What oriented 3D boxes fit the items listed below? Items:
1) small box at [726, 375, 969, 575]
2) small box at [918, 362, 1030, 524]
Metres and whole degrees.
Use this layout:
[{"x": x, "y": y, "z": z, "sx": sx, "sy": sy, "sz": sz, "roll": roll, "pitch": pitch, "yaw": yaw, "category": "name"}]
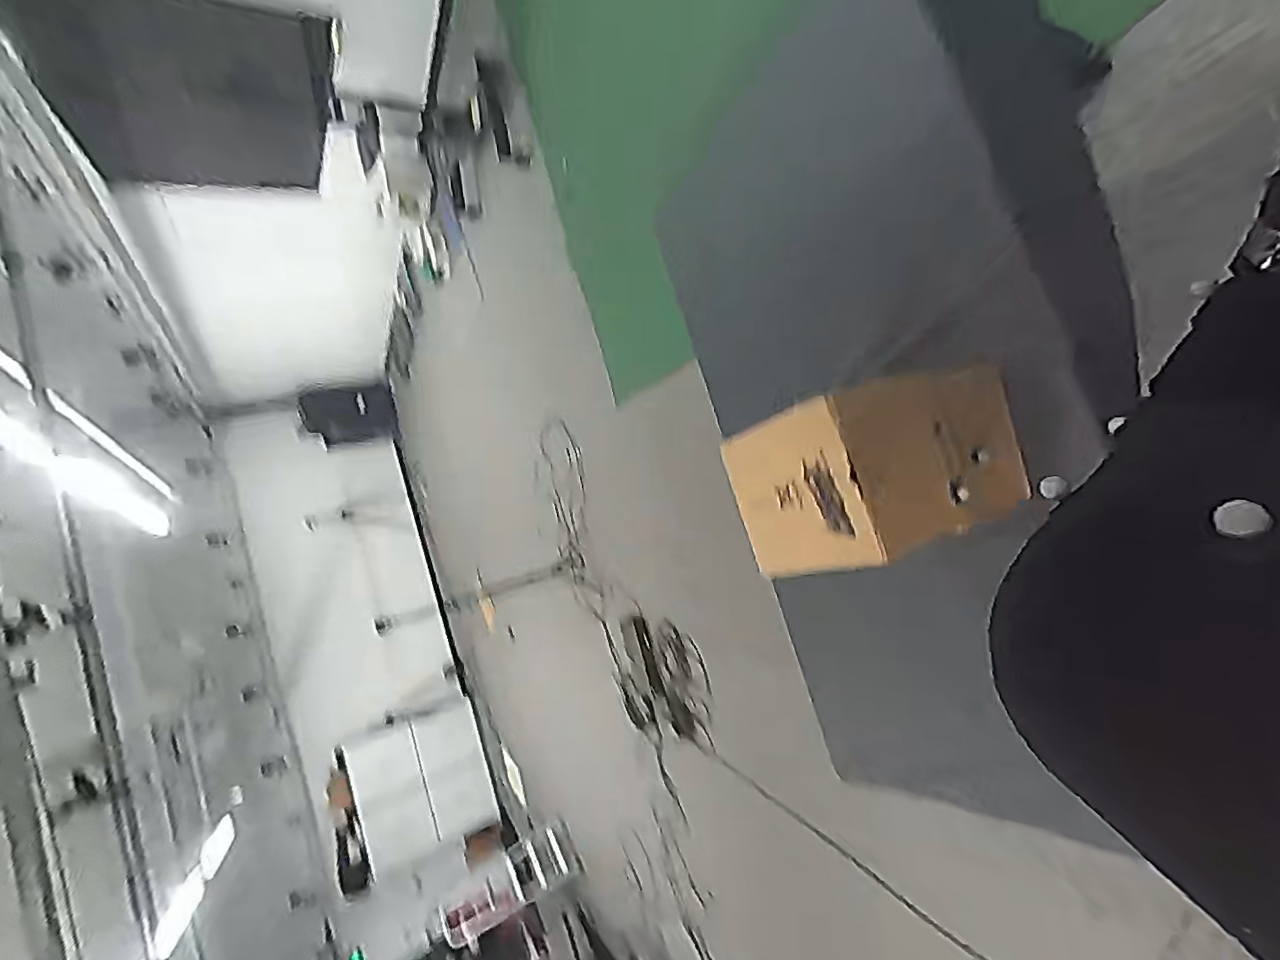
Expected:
[{"x": 0.235, "y": -0.006, "z": 0.615, "sx": 0.179, "sy": 0.176, "sz": 0.168, "roll": -33, "pitch": 74, "yaw": 57, "category": "small box"}, {"x": 0.368, "y": -0.039, "z": 0.711, "sx": 0.168, "sy": 0.176, "sz": 0.179, "roll": -24, "pitch": 81, "yaw": 61, "category": "small box"}]
